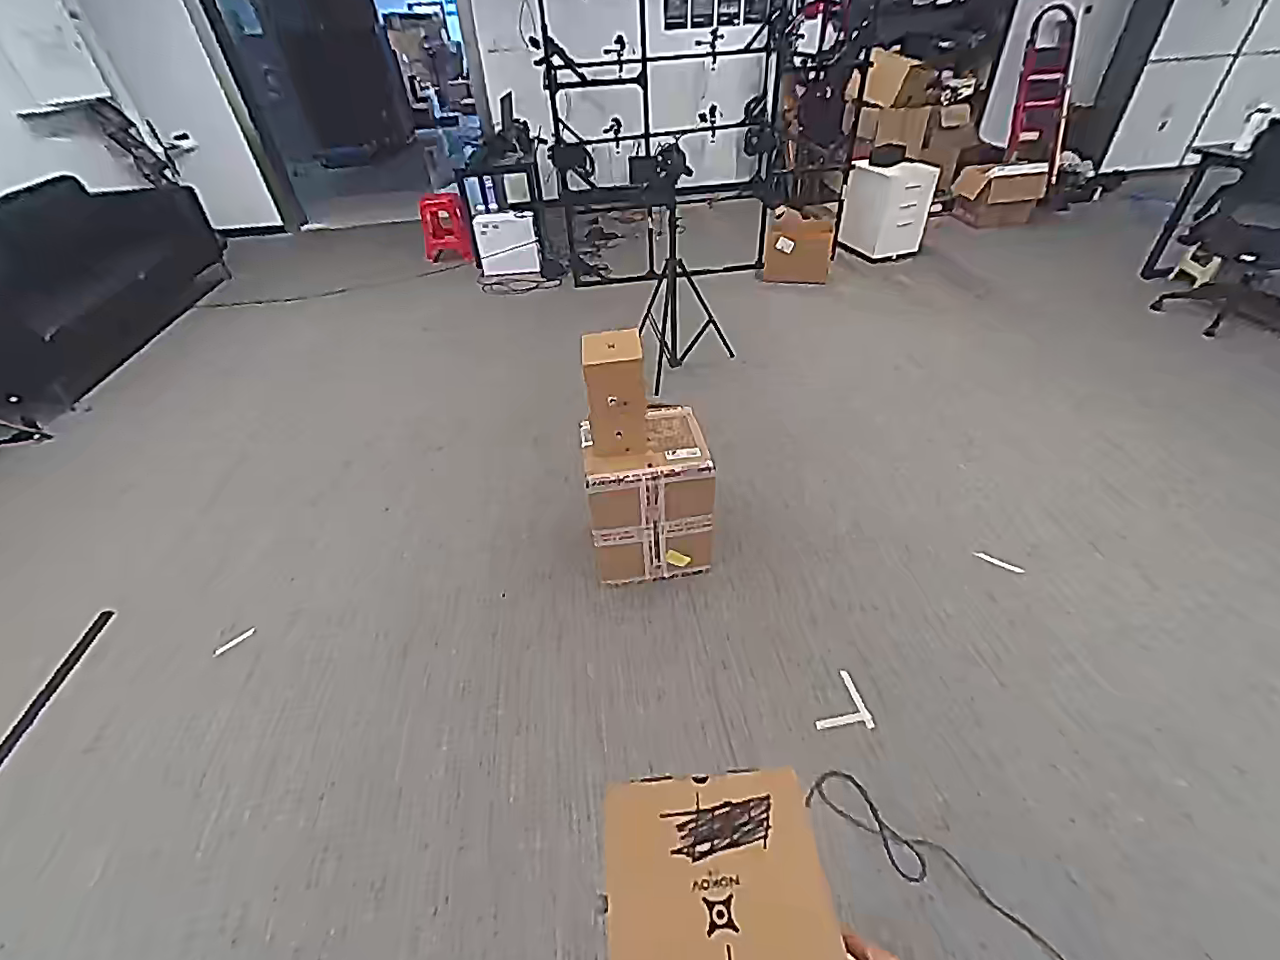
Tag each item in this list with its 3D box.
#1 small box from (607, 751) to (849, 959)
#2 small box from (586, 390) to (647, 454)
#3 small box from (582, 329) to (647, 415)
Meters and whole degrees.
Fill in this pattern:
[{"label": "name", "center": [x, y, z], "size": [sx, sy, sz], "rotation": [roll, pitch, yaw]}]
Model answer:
[{"label": "small box", "center": [0.058, 0.356, 0.454], "size": [0.168, 0.176, 0.179], "rotation": [-4, 43, -3]}, {"label": "small box", "center": [-0.073, -0.194, 1.670], "size": [0.168, 0.176, 0.179], "rotation": [-7, 43, -1]}, {"label": "small box", "center": [-0.074, -0.310, 1.555], "size": [0.168, 0.176, 0.179], "rotation": [-8, 43, 0]}]
